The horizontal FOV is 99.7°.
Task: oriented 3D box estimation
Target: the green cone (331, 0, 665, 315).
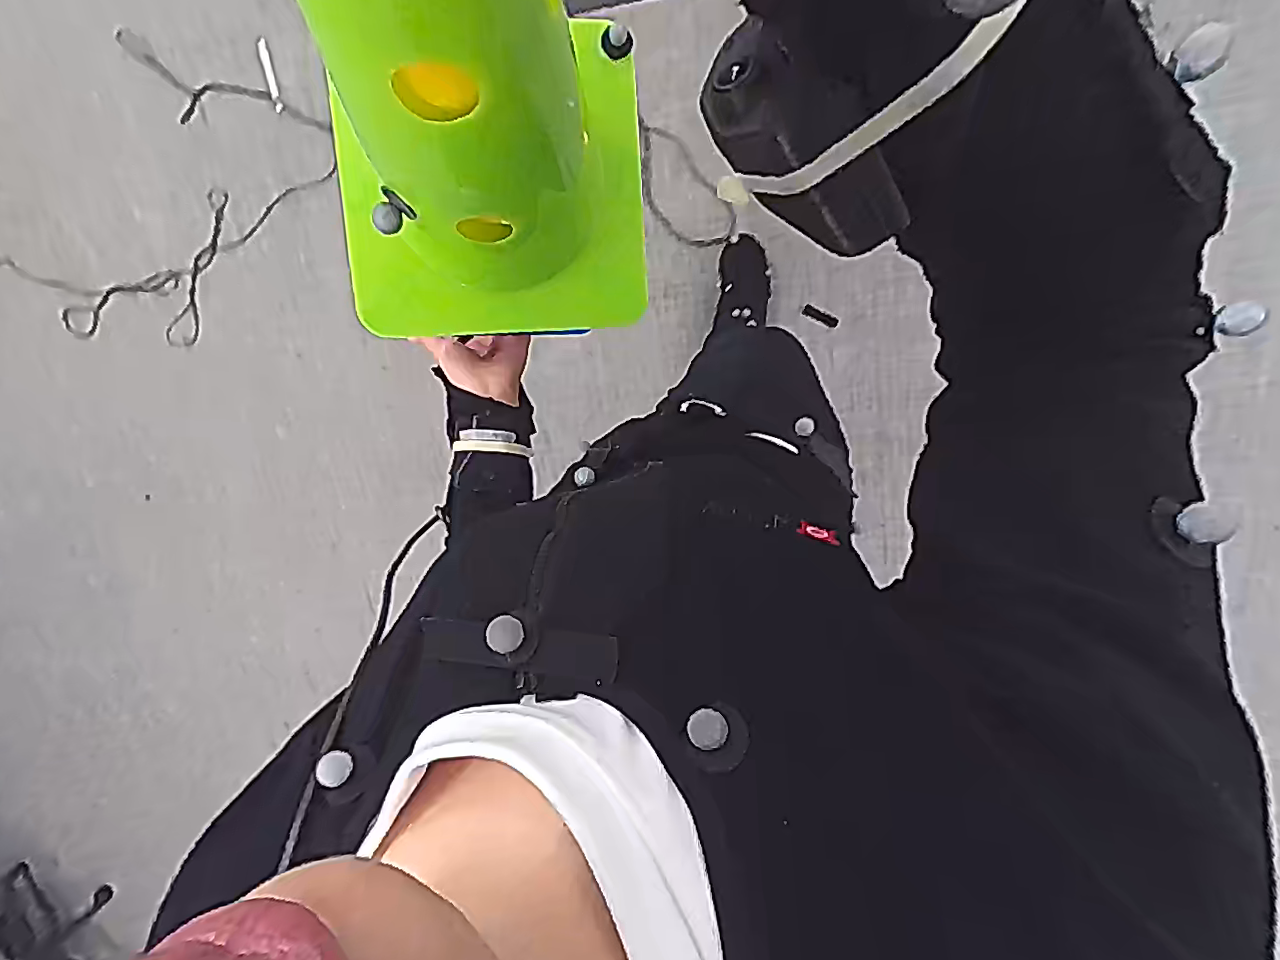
[{"bbox_3d":[-0.064,-0.187,0.180,0.200,0.368,0.202,-4,99,-6],"label":"green cone"}]
